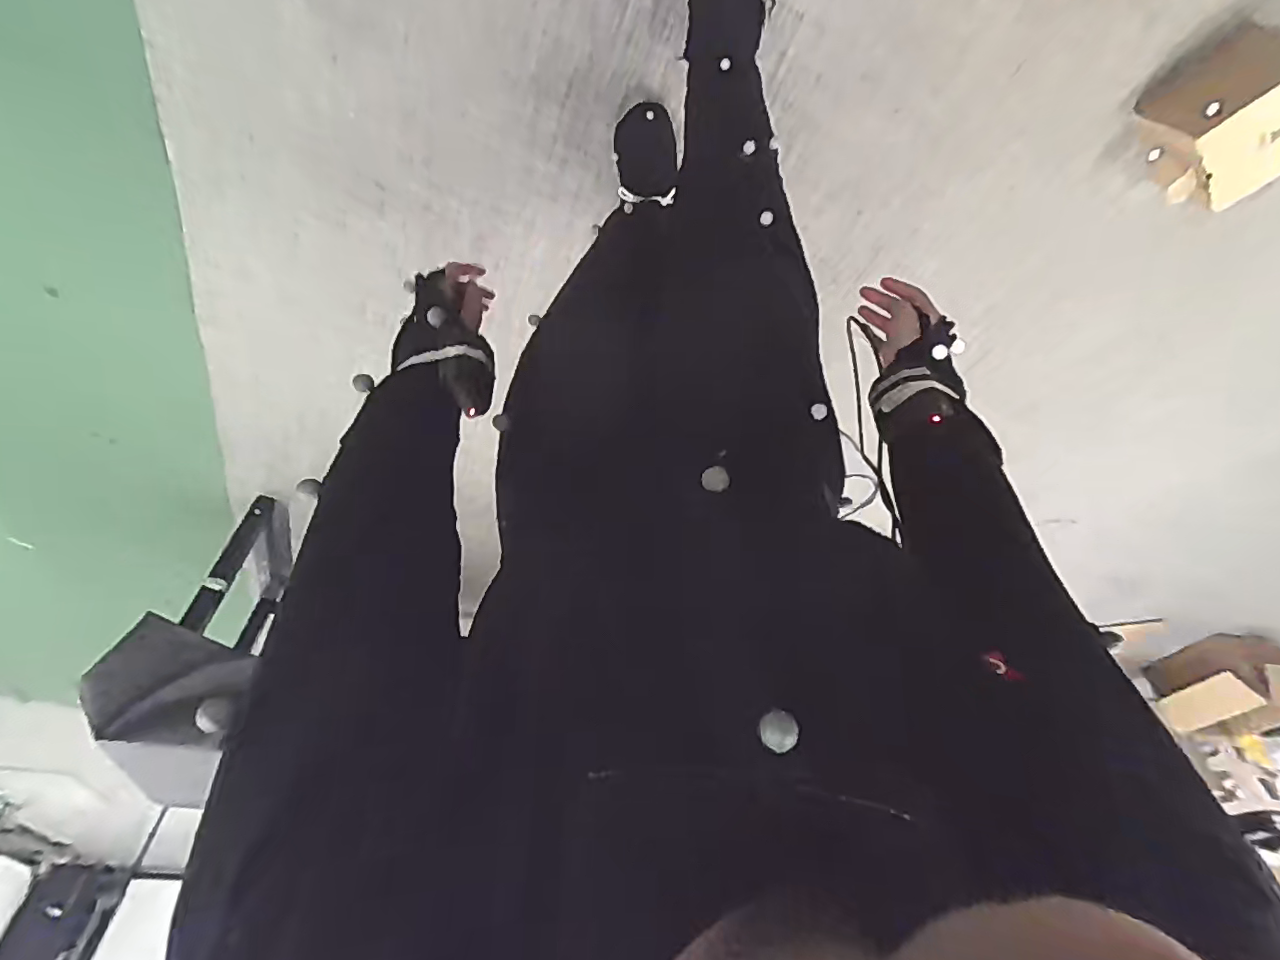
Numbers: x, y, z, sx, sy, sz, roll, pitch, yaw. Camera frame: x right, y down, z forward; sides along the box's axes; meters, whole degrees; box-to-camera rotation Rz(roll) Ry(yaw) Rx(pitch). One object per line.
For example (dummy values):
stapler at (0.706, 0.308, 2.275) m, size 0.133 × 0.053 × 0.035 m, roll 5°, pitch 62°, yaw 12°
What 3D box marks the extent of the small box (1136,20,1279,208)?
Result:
small box at (0.982, -0.599, 0.886) m, size 0.168 × 0.176 × 0.179 m, roll 32°, pitch 128°, yaw -31°
